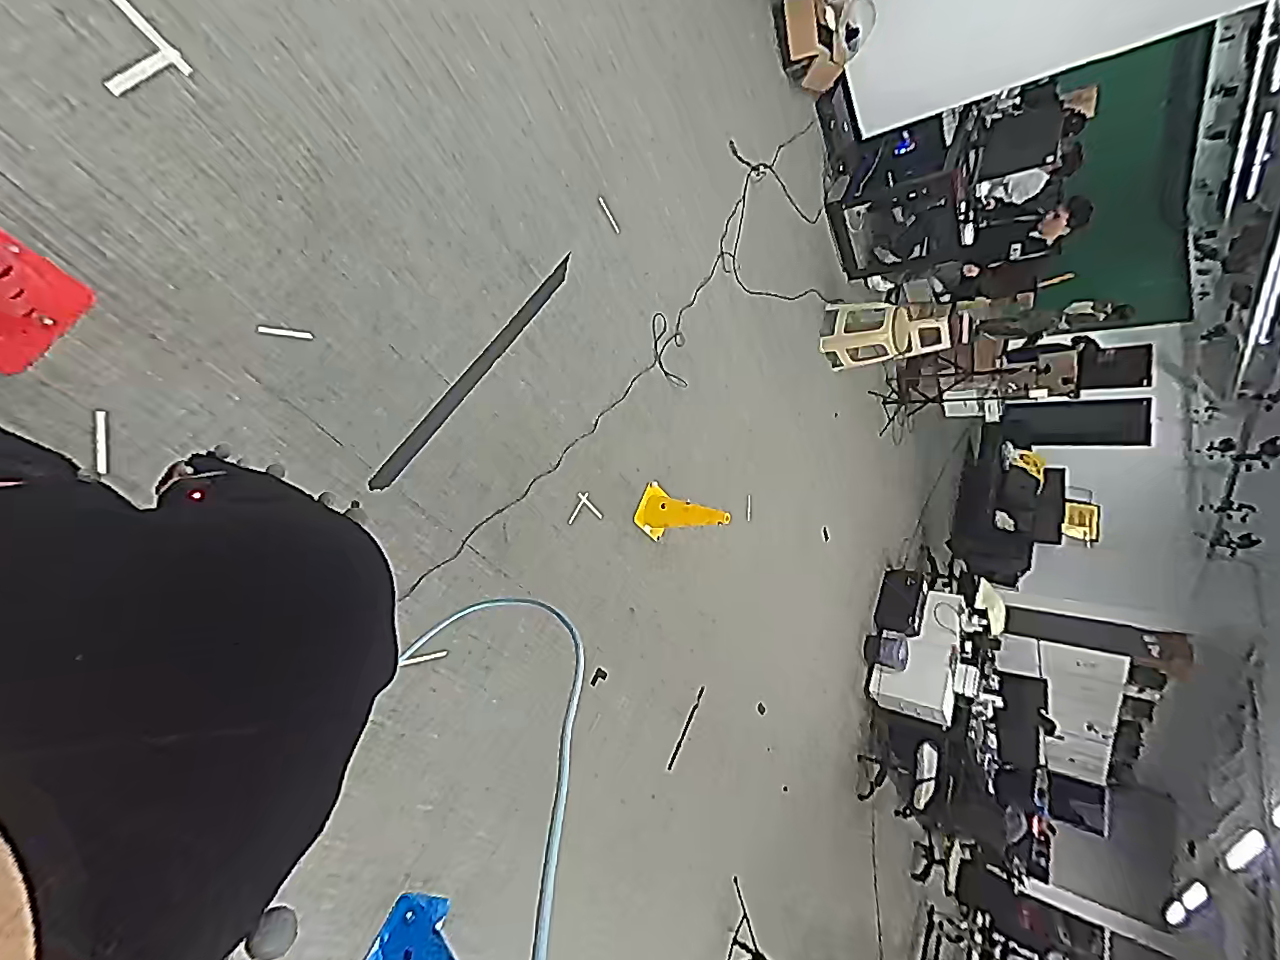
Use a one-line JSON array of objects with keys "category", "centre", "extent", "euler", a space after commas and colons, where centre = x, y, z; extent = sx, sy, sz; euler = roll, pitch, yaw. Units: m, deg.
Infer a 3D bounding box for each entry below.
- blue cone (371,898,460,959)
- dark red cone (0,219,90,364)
[{"category": "blue cone", "centre": [-0.511, 1.281, 1.396], "extent": [0.192, 0.380, 0.193], "euler": [54, 54, -38]}, {"category": "dark red cone", "centre": [-0.920, -0.304, 0.749], "extent": [0.201, 0.394, 0.202], "euler": [45, 59, -43]}]
